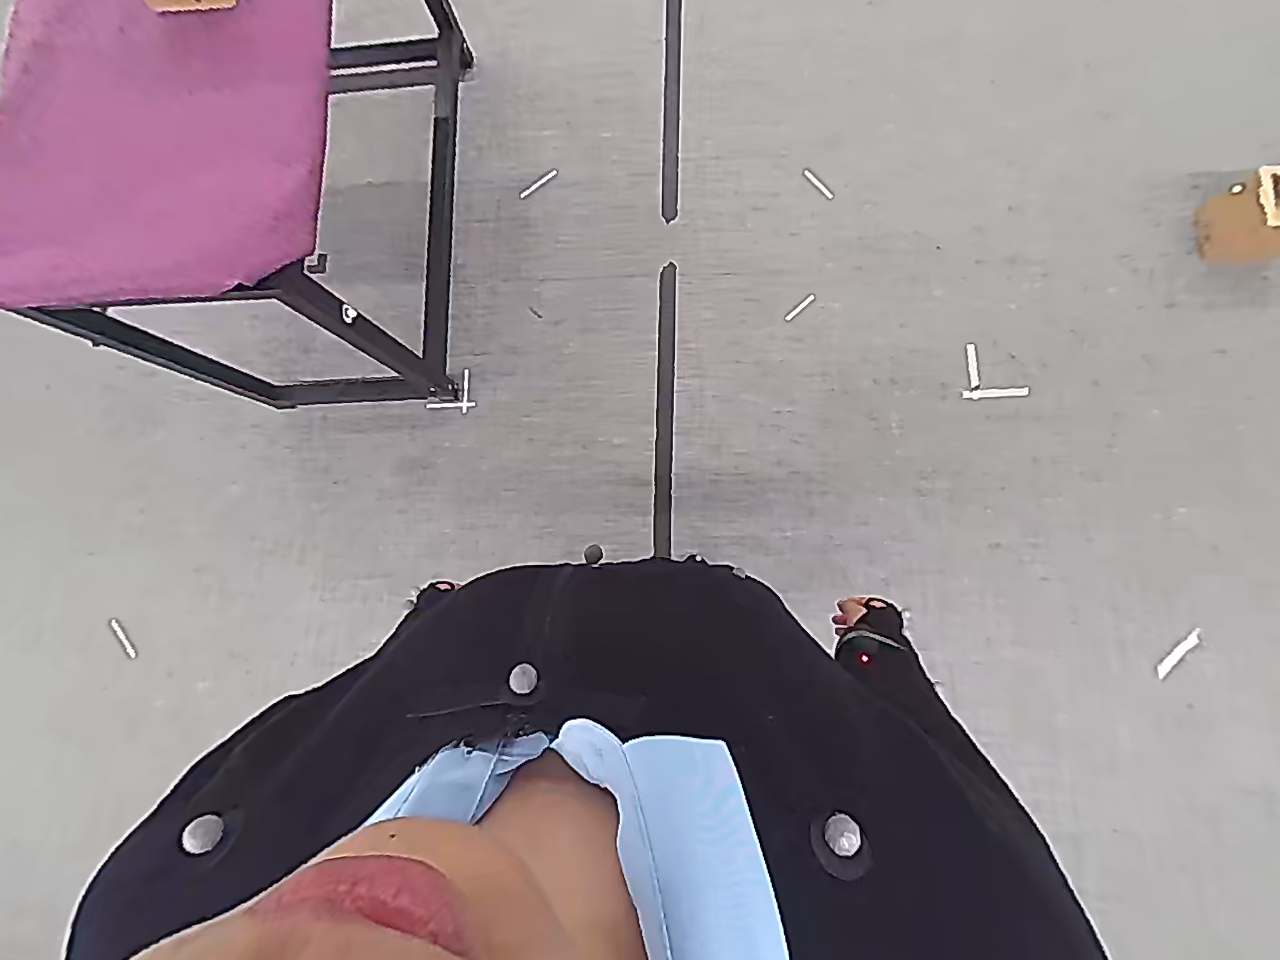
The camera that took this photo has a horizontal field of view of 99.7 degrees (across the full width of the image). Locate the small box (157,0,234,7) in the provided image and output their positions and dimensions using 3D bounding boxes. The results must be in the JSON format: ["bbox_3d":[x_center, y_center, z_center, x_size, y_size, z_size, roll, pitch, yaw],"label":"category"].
[{"bbox_3d":[-0.818,-0.960,0.926,0.168,0.176,0.179,2,82,5],"label":"small box"}]
